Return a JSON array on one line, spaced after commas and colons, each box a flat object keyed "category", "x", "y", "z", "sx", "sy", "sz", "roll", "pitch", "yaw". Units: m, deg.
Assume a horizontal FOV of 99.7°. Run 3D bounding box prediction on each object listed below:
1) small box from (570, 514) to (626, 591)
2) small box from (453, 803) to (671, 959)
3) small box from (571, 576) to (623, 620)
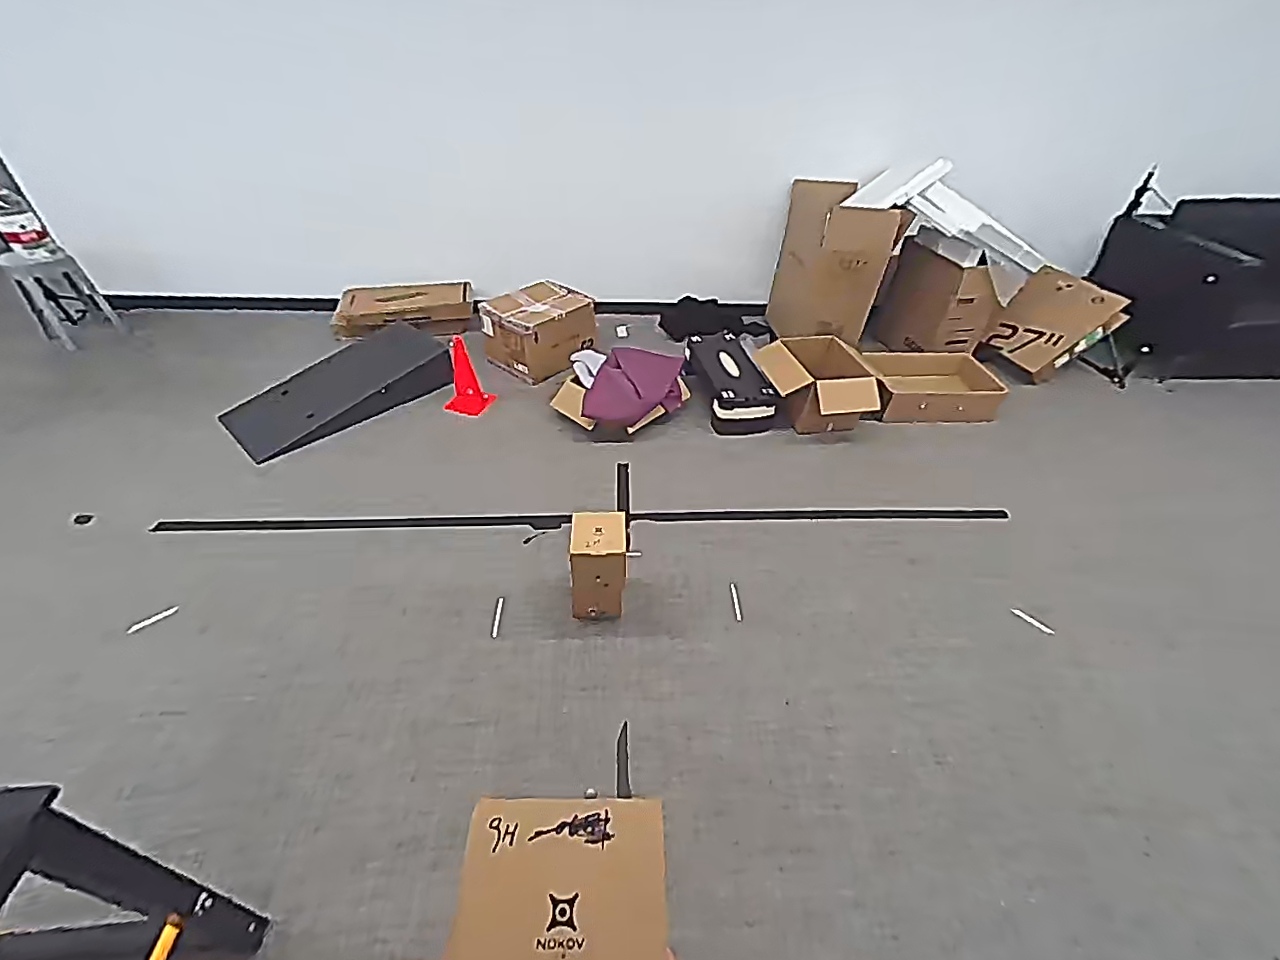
[{"category": "small box", "x": -0.127, "y": 0.225, "z": 1.683, "sx": 0.168, "sy": 0.176, "sz": 0.179, "roll": -1, "pitch": 41, "yaw": -2}, {"category": "small box", "x": -0.061, "y": 0.399, "z": 0.471, "sx": 0.168, "sy": 0.176, "sz": 0.179, "roll": 1, "pitch": 47, "yaw": -3}, {"category": "small box", "x": -0.141, "y": 0.345, "z": 1.797, "sx": 0.168, "sy": 0.176, "sz": 0.179, "roll": -1, "pitch": 42, "yaw": -3}]
